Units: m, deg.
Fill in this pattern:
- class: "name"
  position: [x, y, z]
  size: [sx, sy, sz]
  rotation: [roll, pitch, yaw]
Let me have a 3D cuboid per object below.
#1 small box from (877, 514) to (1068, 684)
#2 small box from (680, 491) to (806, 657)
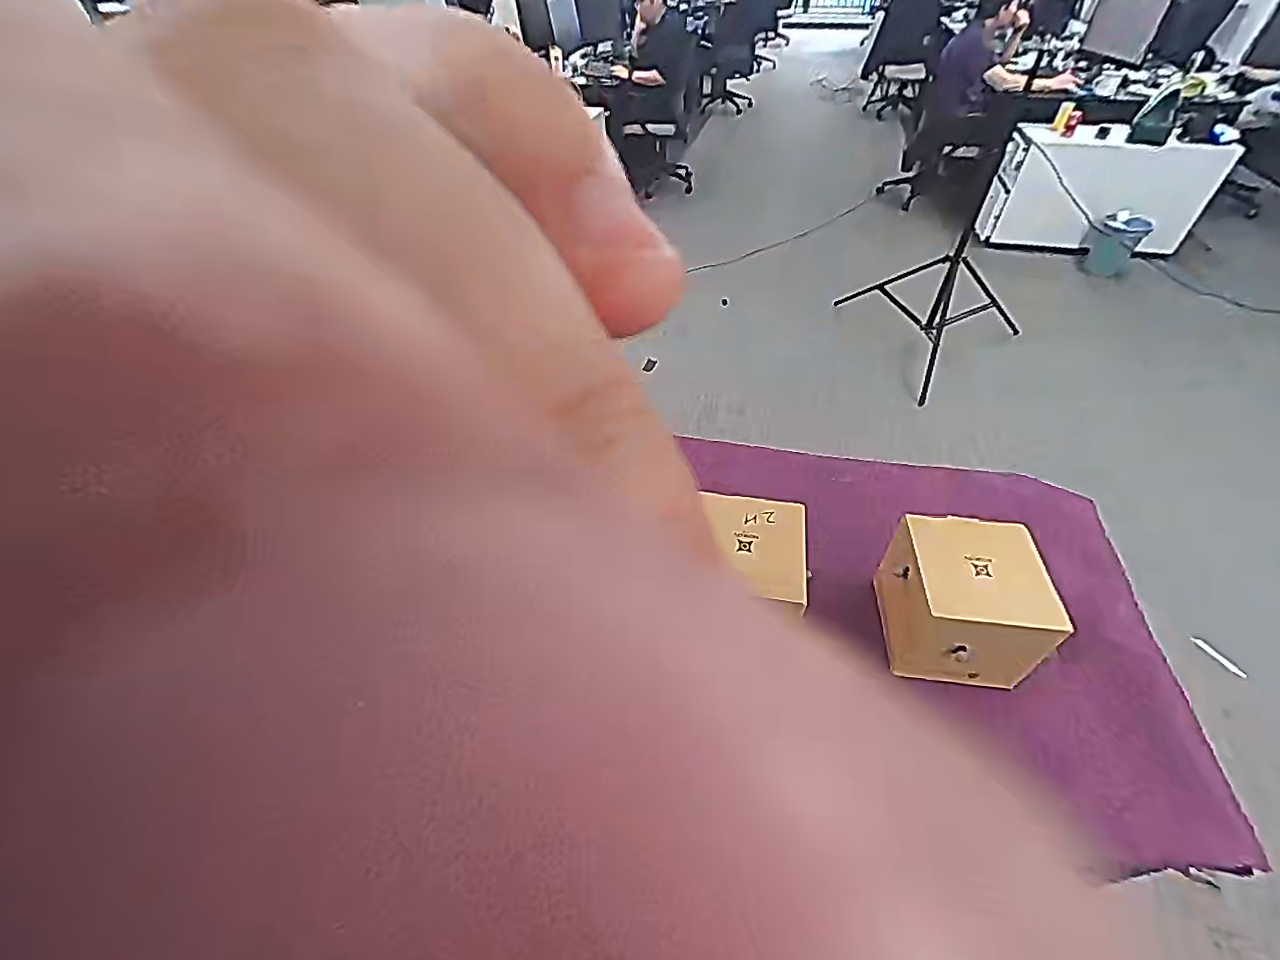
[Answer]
- class: "small box"
  position: [0.459, 0.173, 0.782]
  size: [0.168, 0.176, 0.179]
  rotation: [5, 44, 7]
- class: "small box"
  position: [0.153, 0.144, 0.820]
  size: [0.168, 0.176, 0.179]
  rotation: [8, 46, 8]
